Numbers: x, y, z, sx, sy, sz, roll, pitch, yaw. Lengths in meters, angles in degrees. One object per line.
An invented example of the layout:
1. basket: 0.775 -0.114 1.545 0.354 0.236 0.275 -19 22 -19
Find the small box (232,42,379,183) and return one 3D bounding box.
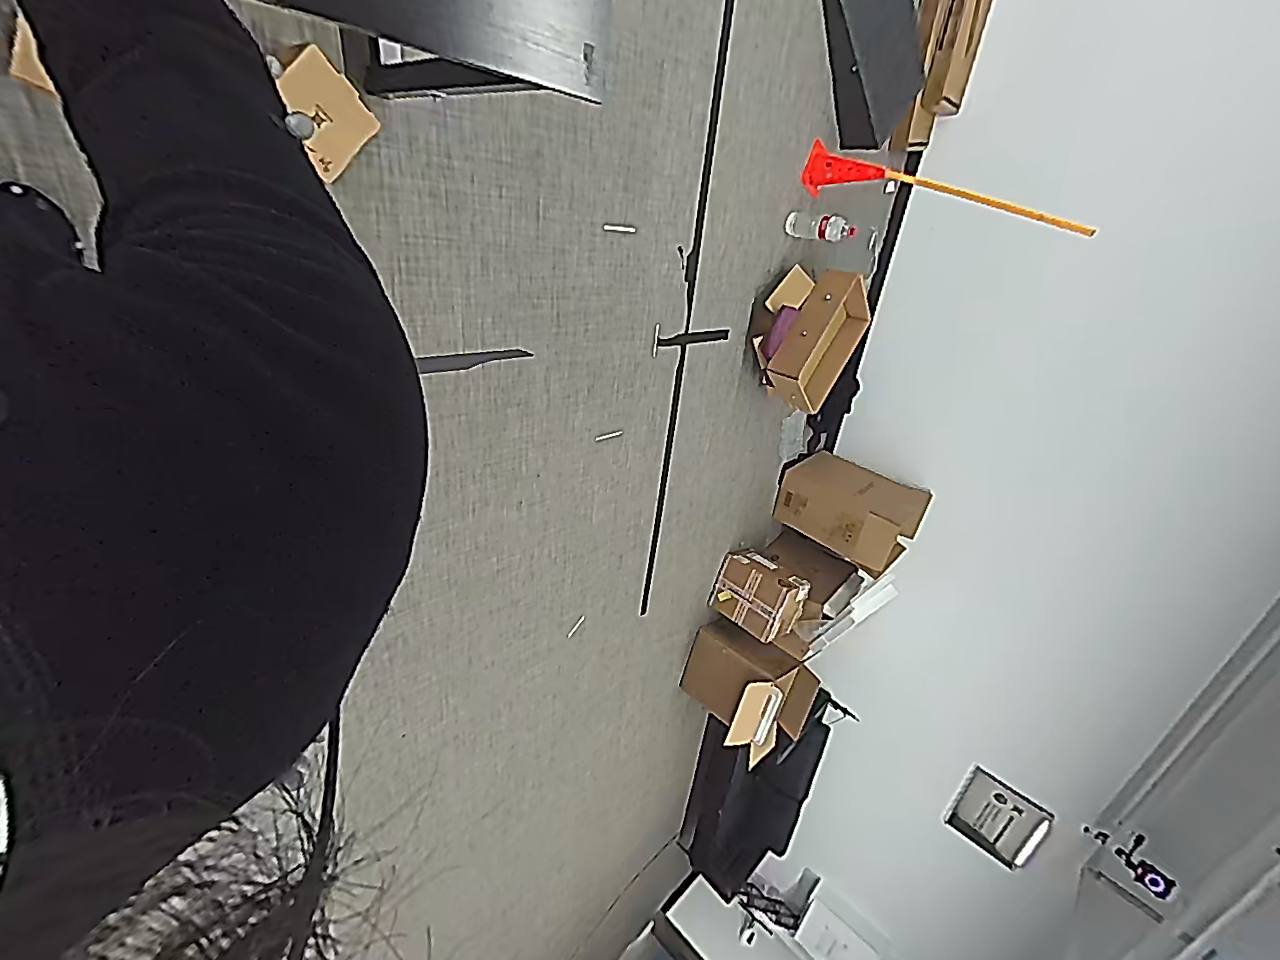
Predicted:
1. small box: -0.680 -0.741 1.097 0.179 0.176 0.168 -56 144 -8

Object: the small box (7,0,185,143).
1. small box: -0.888 -0.685 0.883 0.179 0.176 0.168 8 106 -52
